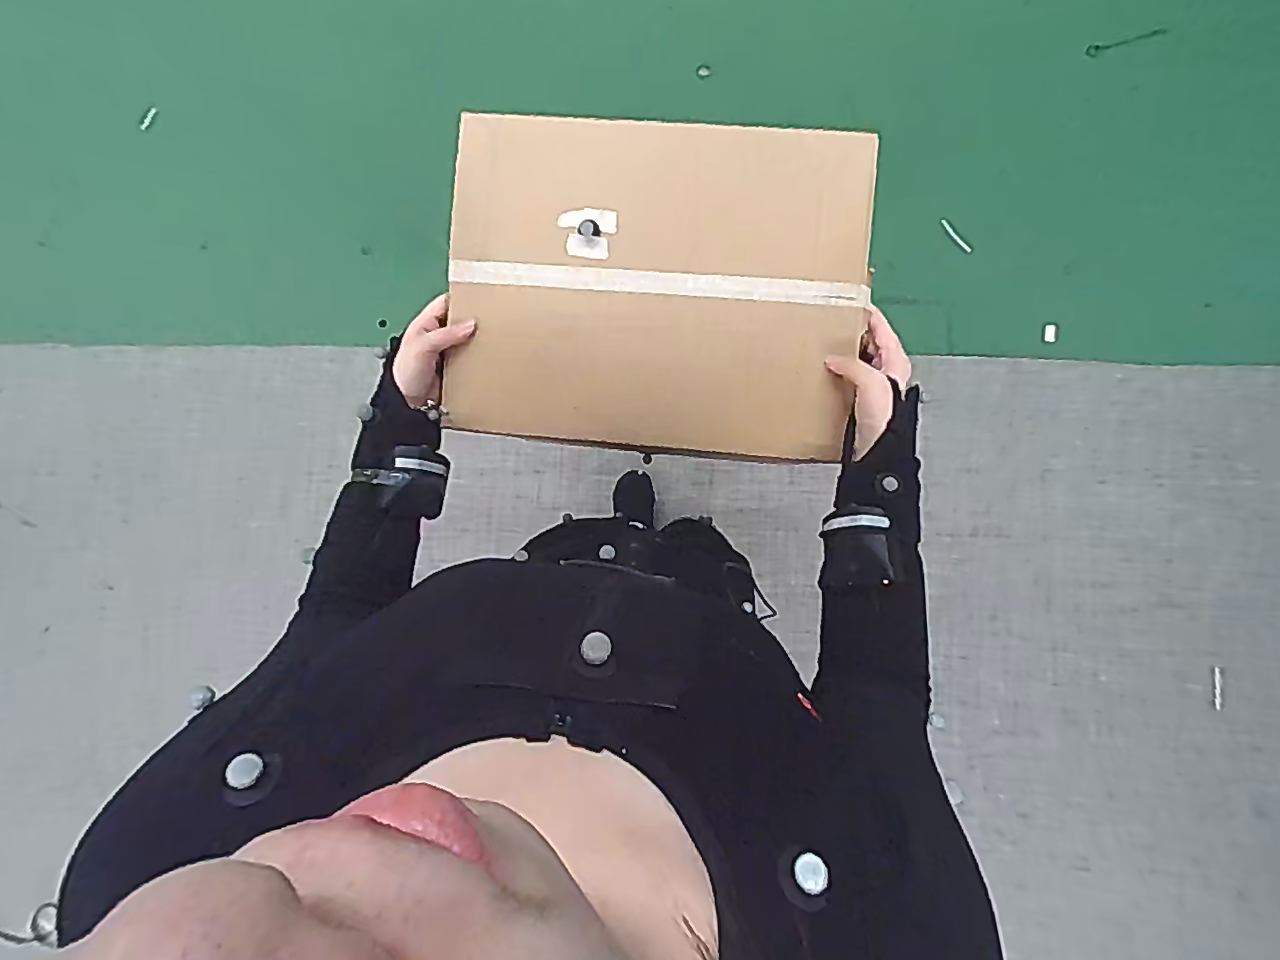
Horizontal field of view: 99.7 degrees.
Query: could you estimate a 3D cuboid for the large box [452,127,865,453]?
[{"bbox_3d":[0.026,-0.200,0.688,0.408,0.320,0.320,5,92,5],"label":"large box"}]
